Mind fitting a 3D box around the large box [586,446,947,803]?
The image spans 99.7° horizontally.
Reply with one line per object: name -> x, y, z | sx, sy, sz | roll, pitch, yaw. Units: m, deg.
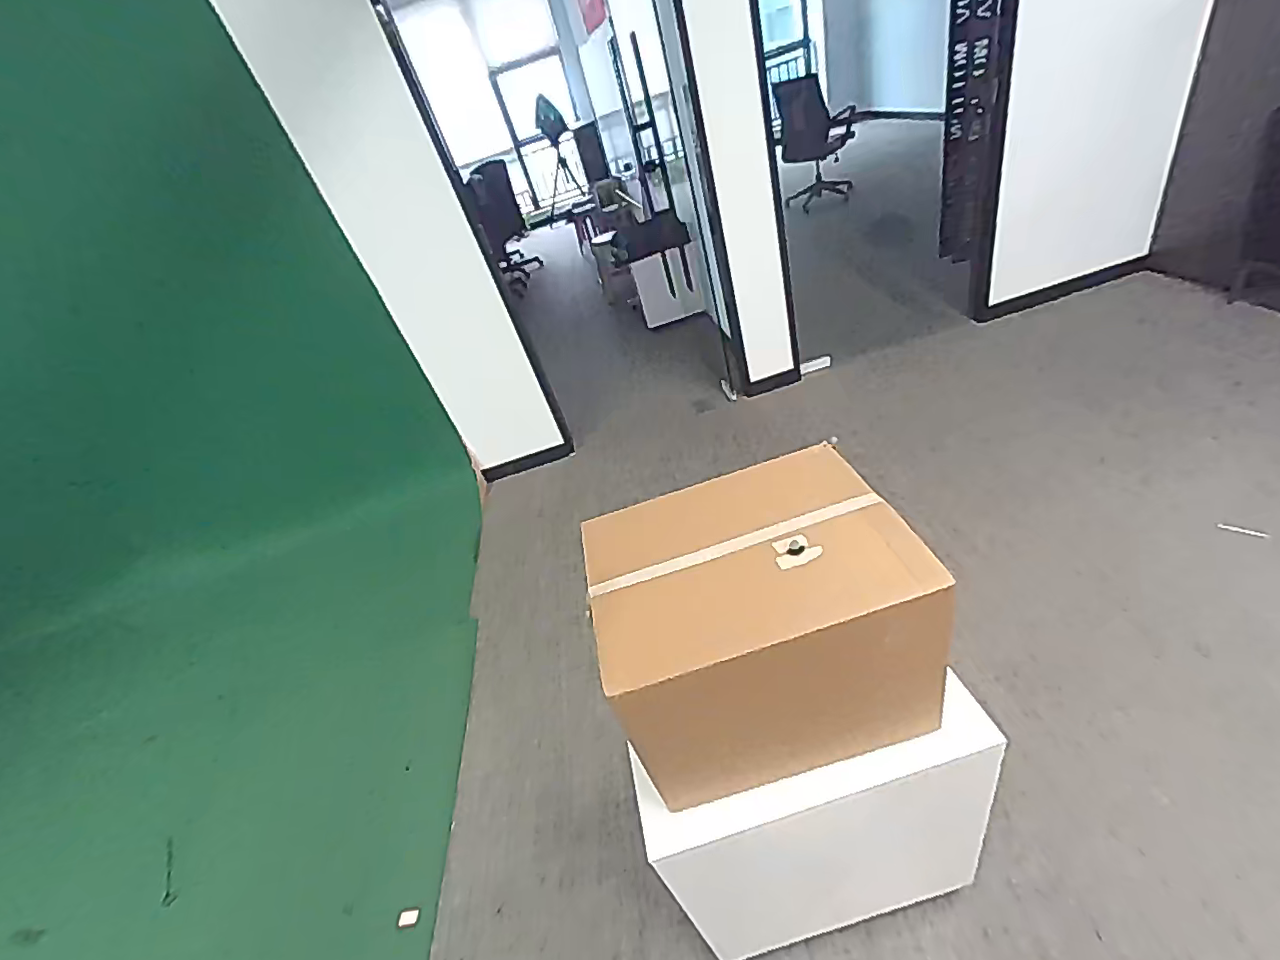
large box -> 0.165, 0.206, 0.805 | 0.408, 0.320, 0.320 | -17, 36, 0
